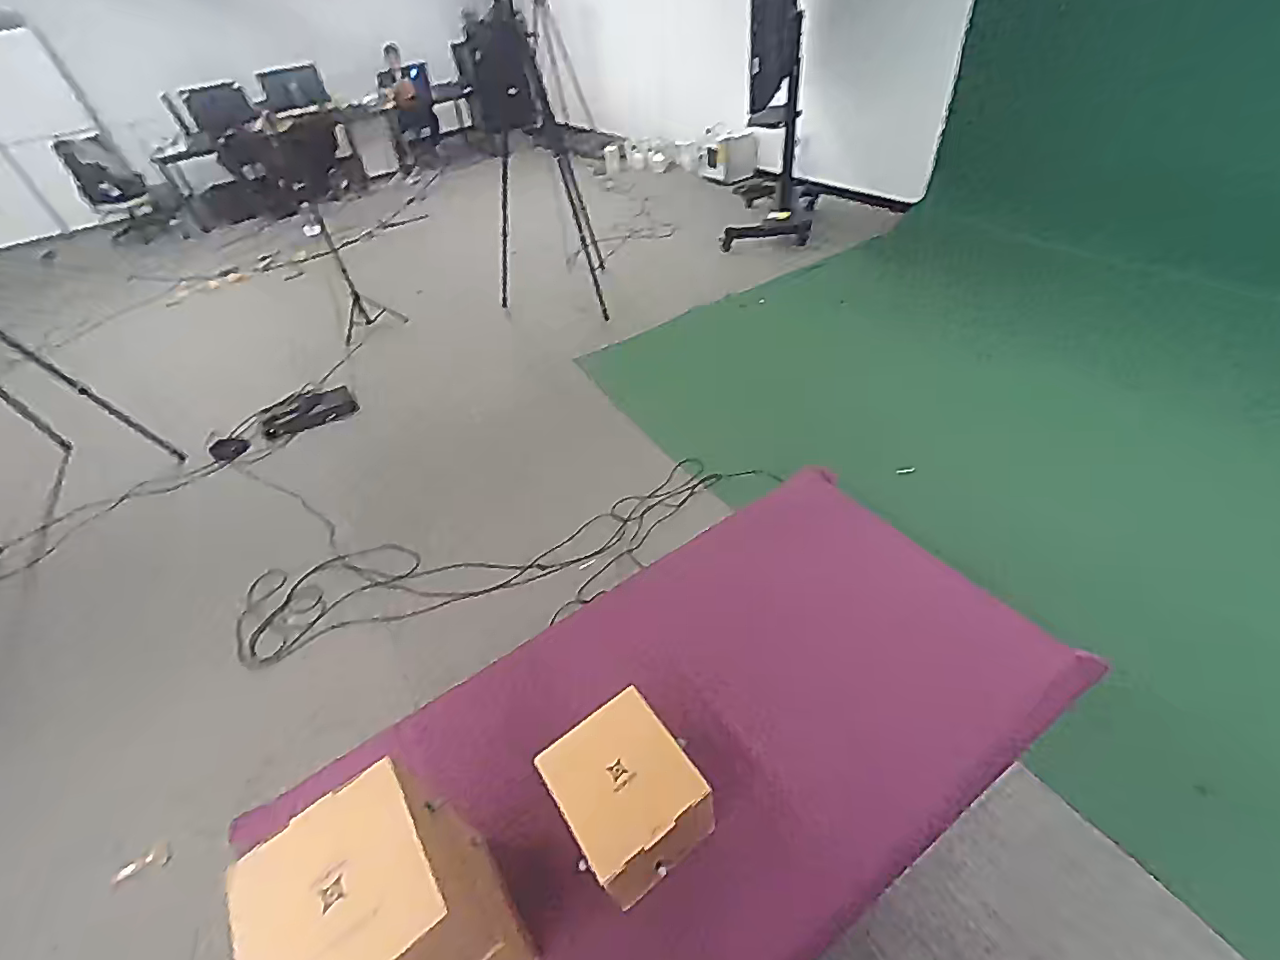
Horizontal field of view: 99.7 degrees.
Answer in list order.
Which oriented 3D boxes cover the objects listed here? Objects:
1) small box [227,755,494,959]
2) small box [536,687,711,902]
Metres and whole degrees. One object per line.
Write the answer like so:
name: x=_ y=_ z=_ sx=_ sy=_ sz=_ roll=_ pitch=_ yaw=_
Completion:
small box: x=-0.275 y=0.432 z=0.550 sx=0.168 sy=0.176 sz=0.179 roll=-31 pitch=47 yaw=-22
small box: x=-0.020 y=0.436 z=0.751 sx=0.168 sy=0.176 sz=0.179 roll=-30 pitch=48 yaw=-22
